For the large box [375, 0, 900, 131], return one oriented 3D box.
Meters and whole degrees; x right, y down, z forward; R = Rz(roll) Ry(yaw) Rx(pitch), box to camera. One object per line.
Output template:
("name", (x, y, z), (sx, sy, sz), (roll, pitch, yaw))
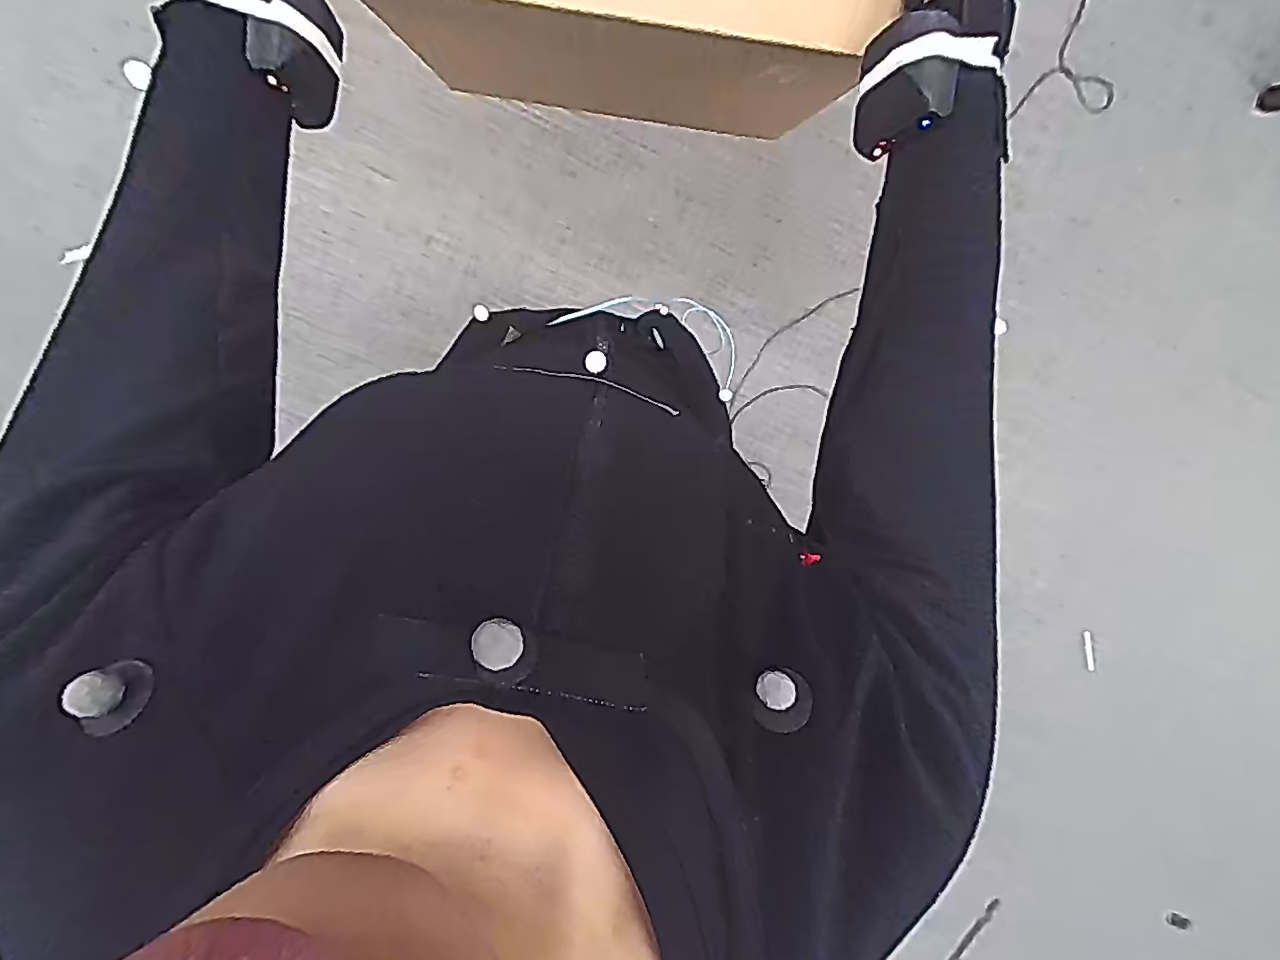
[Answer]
("large box", (-0.005, -0.532, 0.467), (0.408, 0.320, 0.320), (5, 113, -5))
